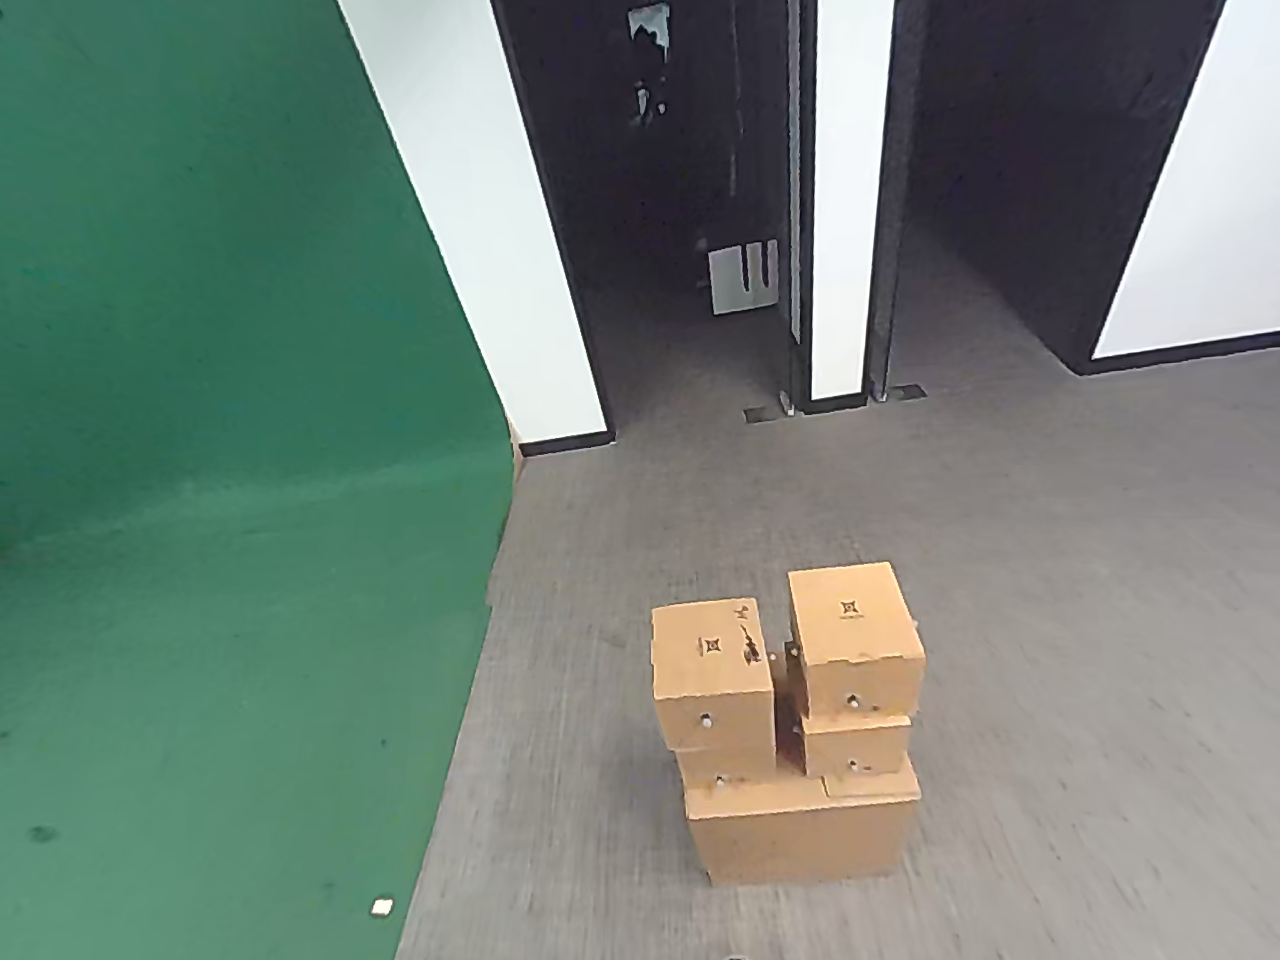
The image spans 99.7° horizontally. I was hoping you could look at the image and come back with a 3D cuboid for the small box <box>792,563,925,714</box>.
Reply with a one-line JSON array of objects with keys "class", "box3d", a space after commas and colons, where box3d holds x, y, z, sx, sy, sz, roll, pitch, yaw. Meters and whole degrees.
[{"class": "small box", "box3d": [0.346, 0.262, 0.893, 0.168, 0.176, 0.179, -7, 39, 10]}]
